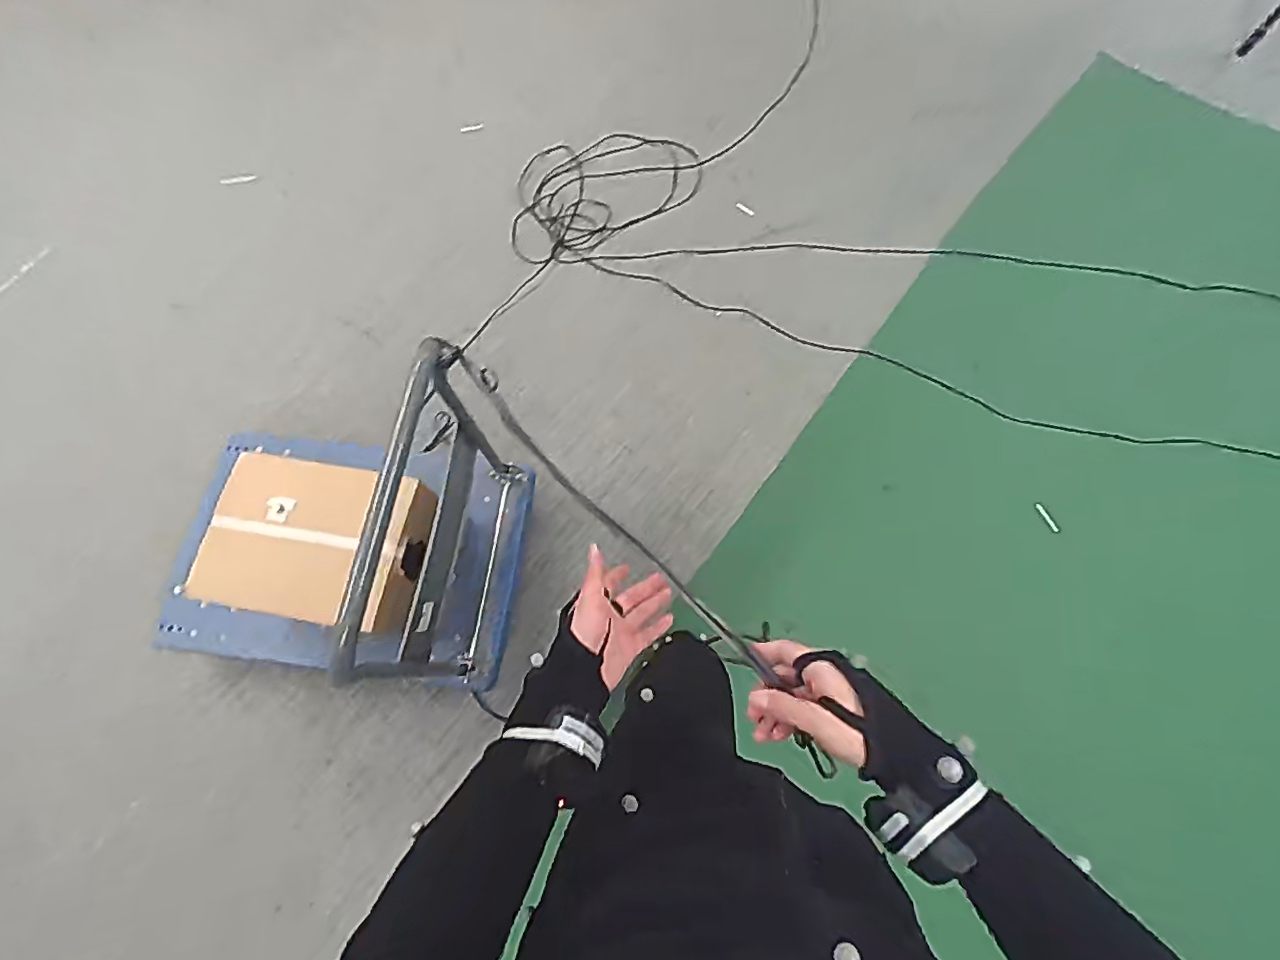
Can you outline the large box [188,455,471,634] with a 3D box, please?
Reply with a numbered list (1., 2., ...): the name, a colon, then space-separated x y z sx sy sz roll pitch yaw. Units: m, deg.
1. large box: -0.651 0.160 1.213 0.408 0.320 0.320 8 72 6
